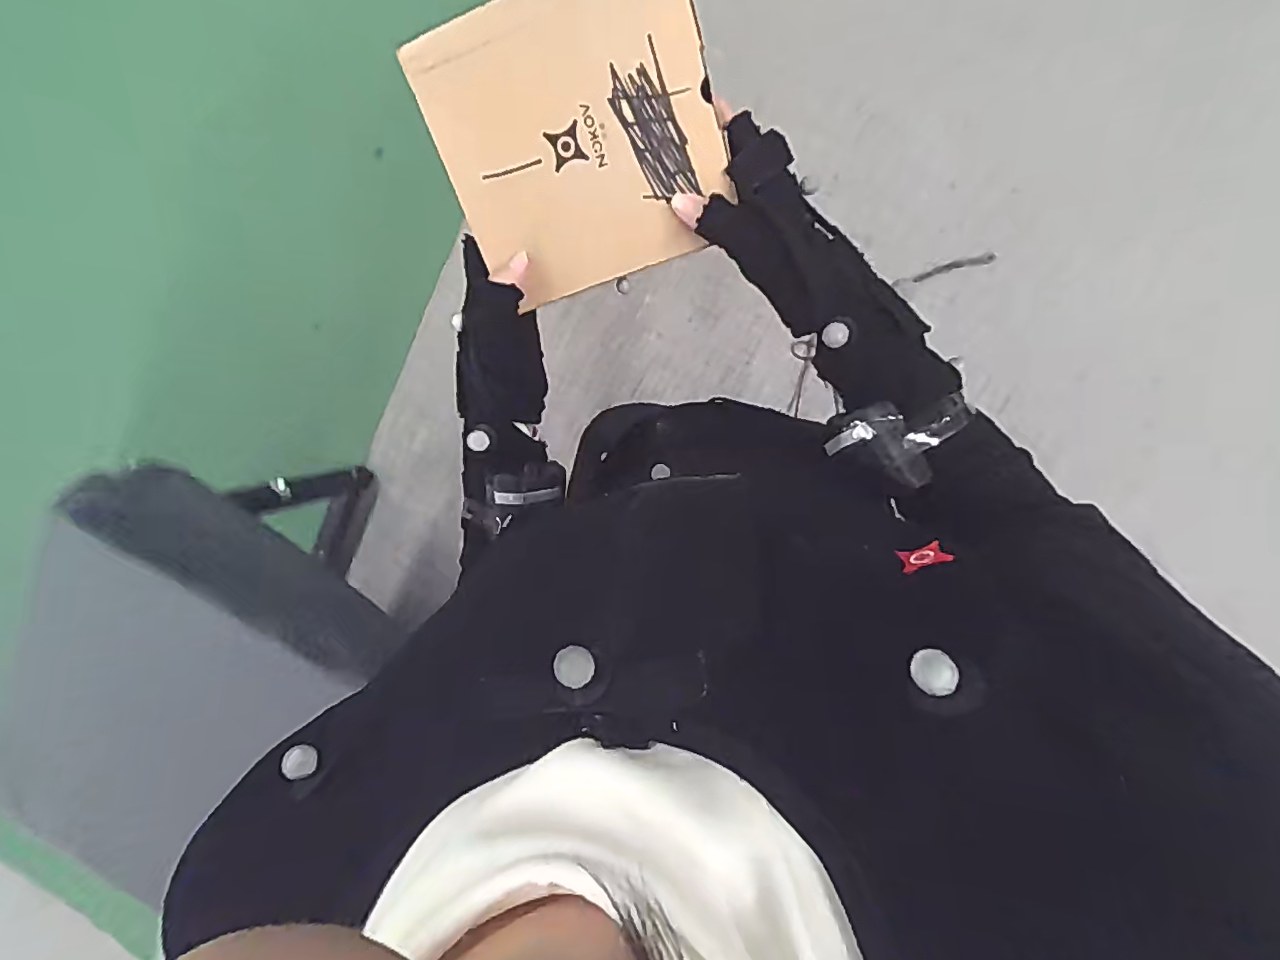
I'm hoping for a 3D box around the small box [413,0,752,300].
[{"bbox_3d":[-0.027,-0.252,0.409,0.179,0.176,0.168,-14,113,11],"label":"small box"}]
